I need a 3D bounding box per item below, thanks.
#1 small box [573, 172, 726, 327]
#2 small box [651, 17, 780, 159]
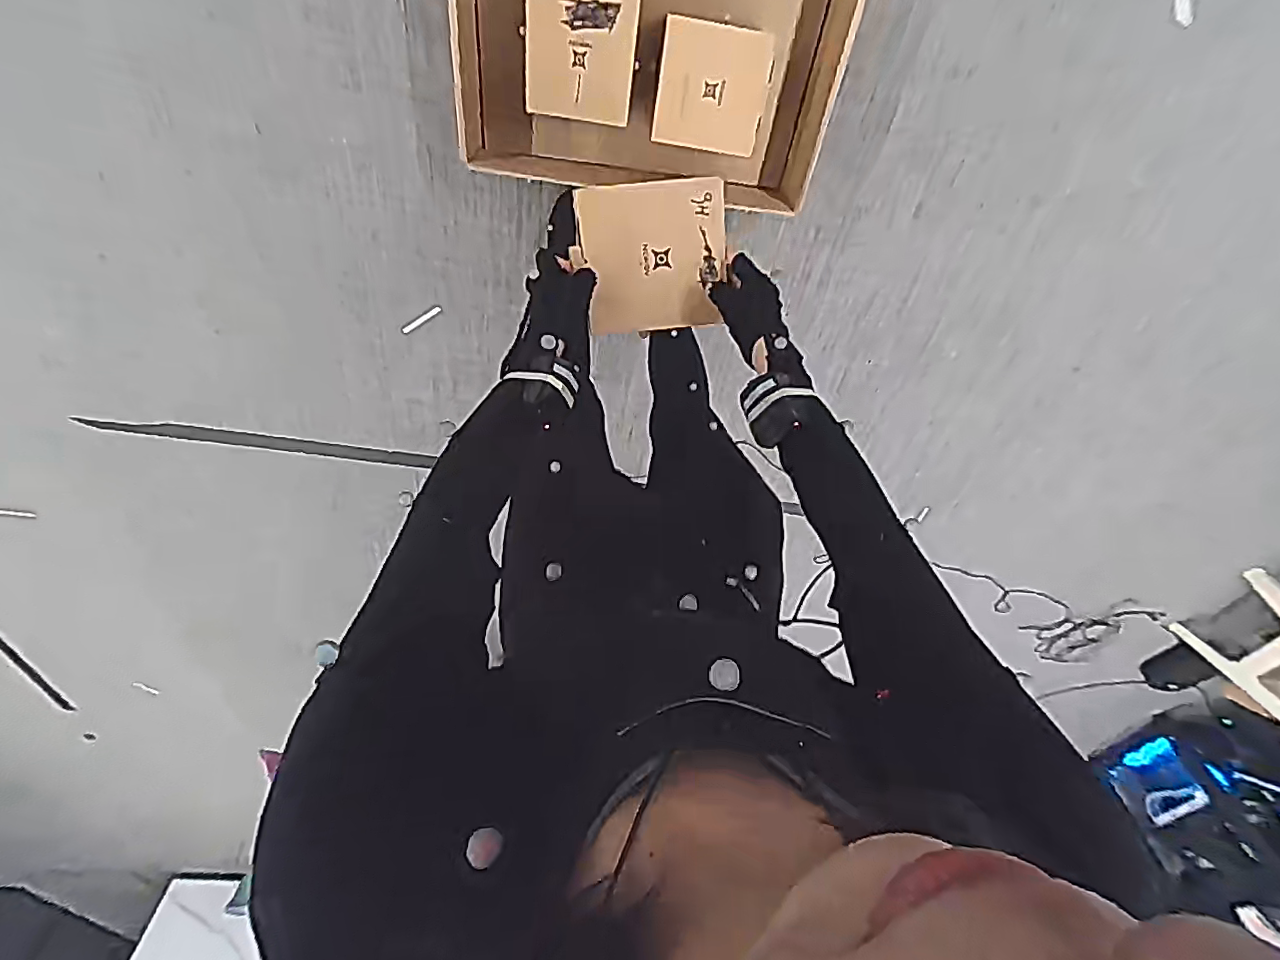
[{"bbox_3d":[0.011,-0.296,0.722,0.179,0.176,0.168,-6,108,-2],"label":"small box"},{"bbox_3d":[0.117,-0.666,0.918,0.179,0.176,0.168,7,129,-4],"label":"small box"}]
